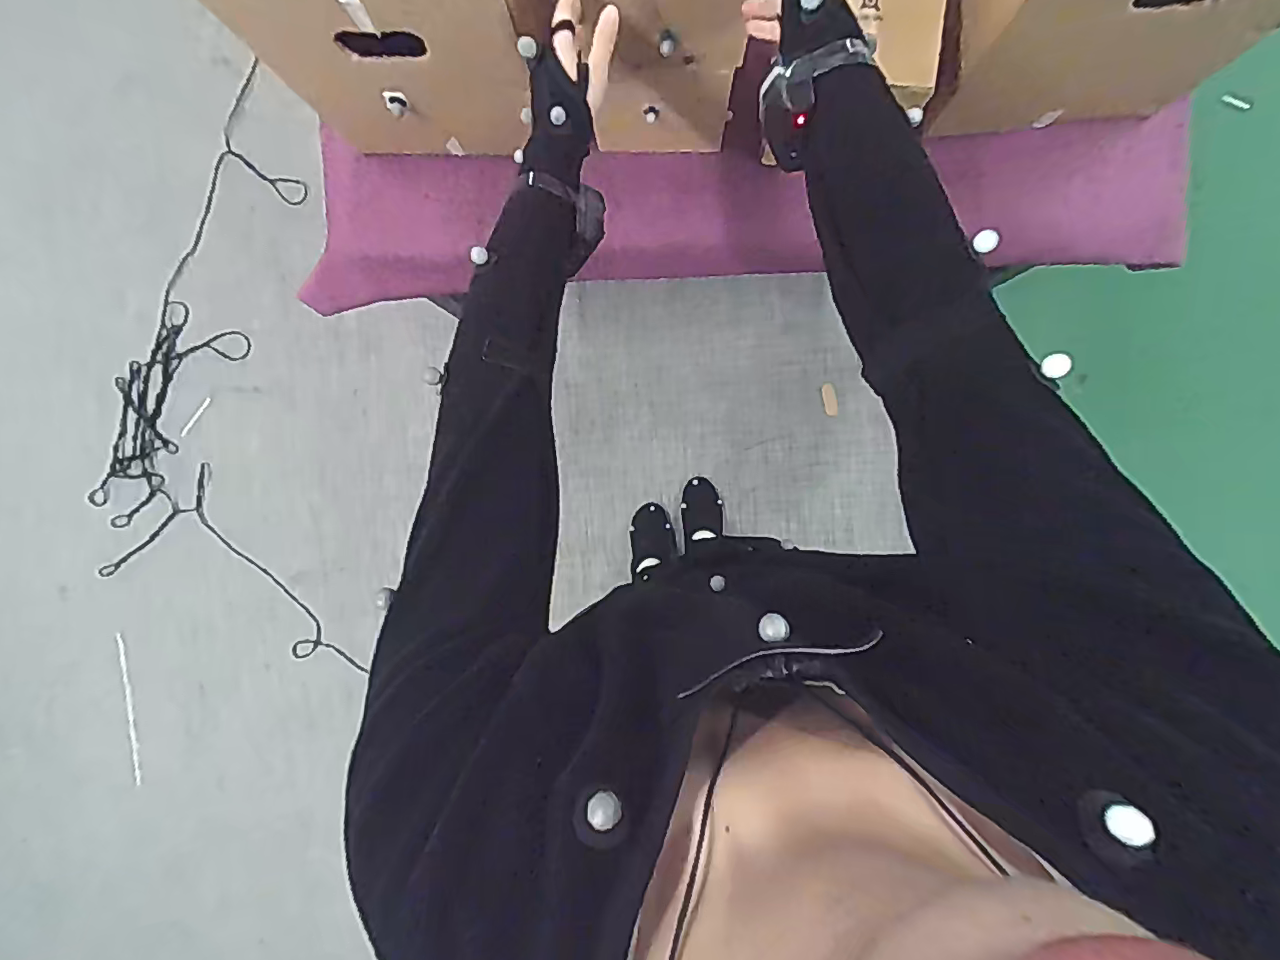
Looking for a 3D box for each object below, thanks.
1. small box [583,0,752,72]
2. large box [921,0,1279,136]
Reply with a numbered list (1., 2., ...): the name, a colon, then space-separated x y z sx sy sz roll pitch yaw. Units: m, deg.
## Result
1. small box: 0.023 -0.539 0.515 0.168 0.176 0.179 -2 94 3
2. large box: 0.524 -0.674 0.586 0.320 0.320 0.408 -3 93 5
